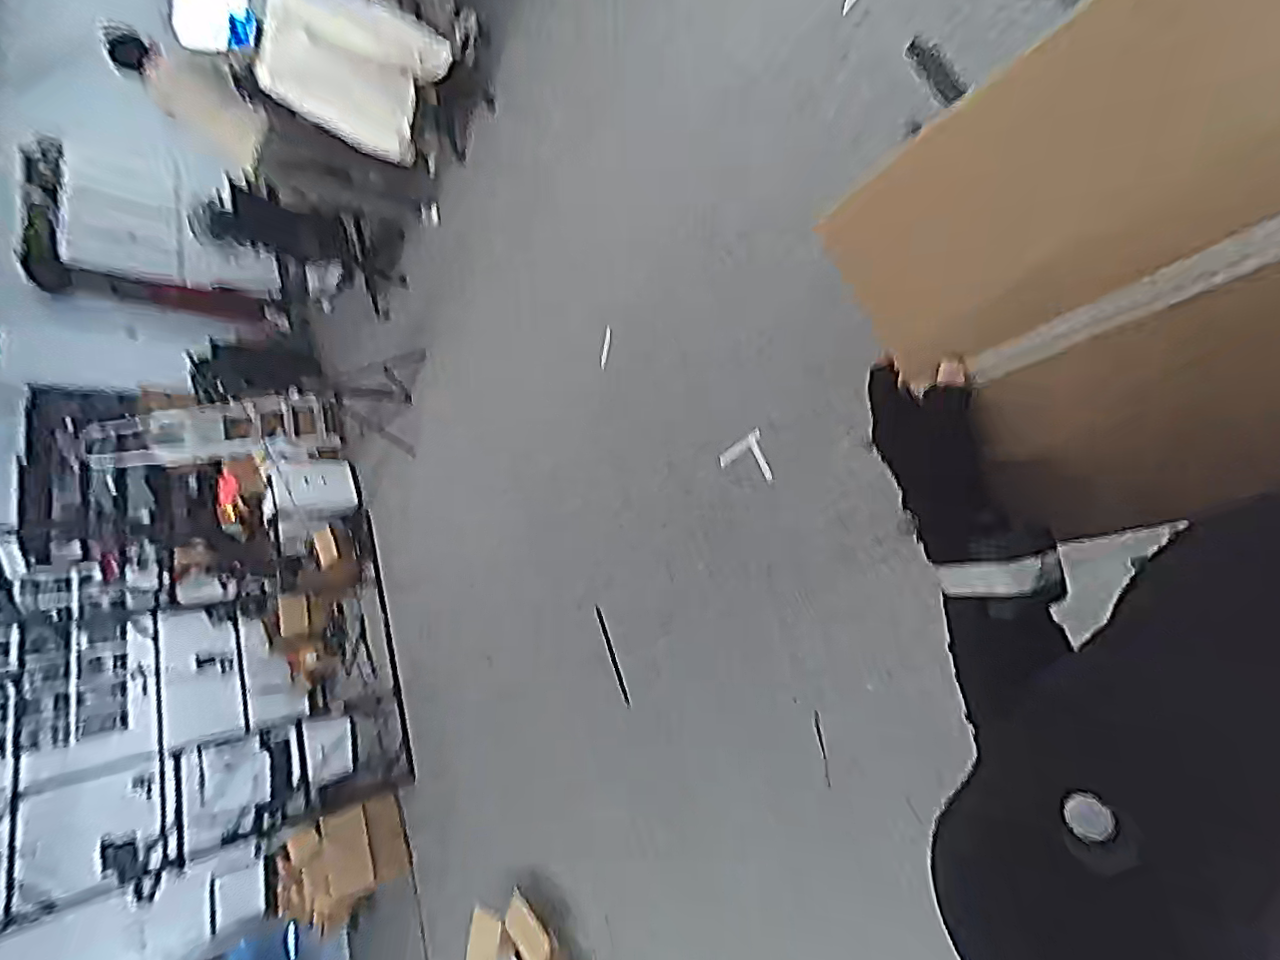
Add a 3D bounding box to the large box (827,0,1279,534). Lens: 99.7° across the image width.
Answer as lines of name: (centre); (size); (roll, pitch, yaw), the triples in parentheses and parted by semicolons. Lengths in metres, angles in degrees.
large box: (0.427, -0.210, 0.387); (0.408, 0.320, 0.320); (-27, 101, 48)
